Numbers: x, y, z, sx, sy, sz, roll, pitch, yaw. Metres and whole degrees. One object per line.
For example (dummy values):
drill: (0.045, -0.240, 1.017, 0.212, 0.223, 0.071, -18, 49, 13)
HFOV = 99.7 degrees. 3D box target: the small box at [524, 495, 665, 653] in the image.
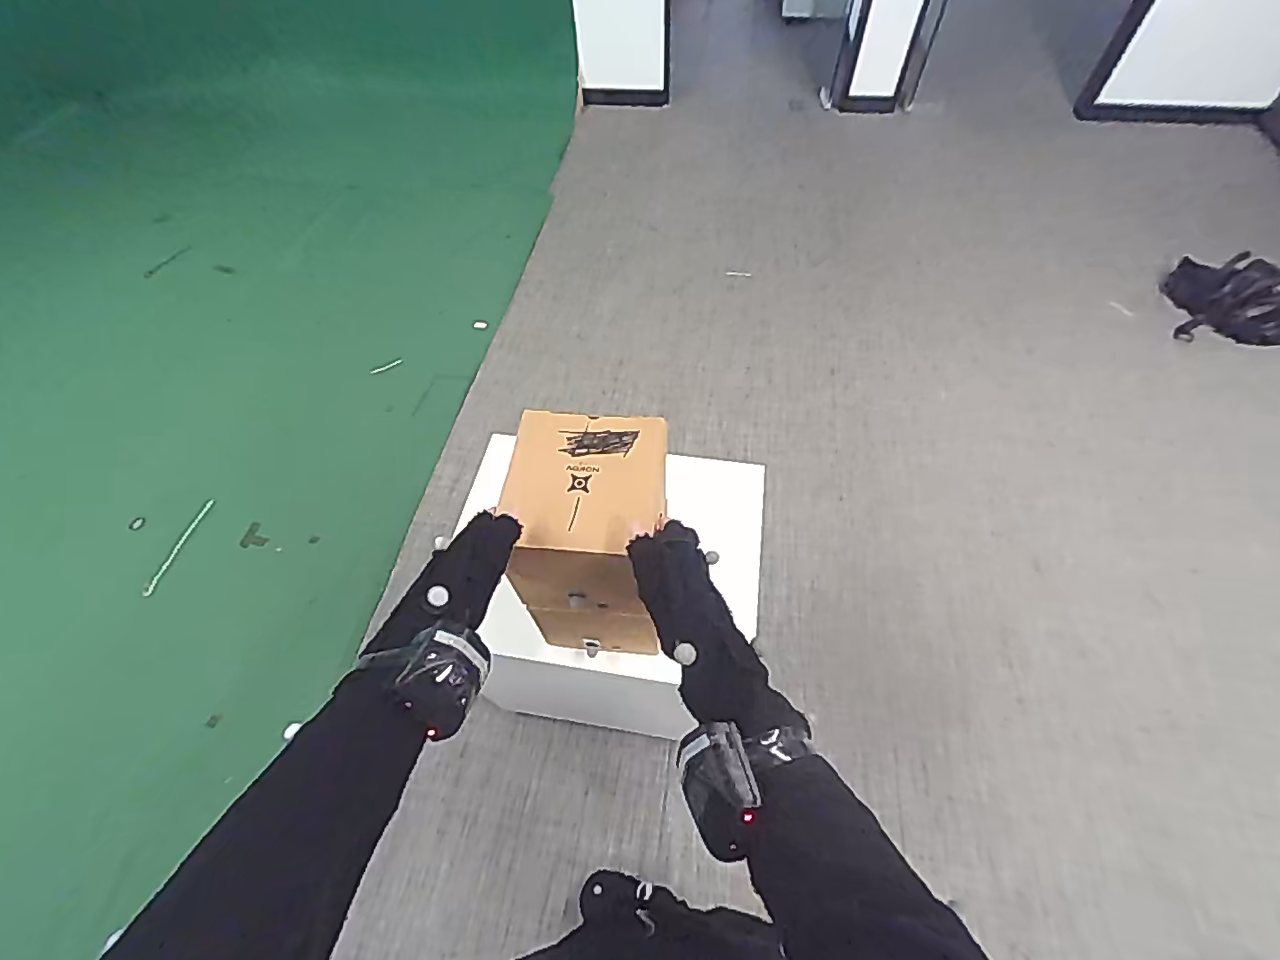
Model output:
small box: (-0.051, 0.132, 0.769, 0.168, 0.176, 0.179, 2, 58, 6)

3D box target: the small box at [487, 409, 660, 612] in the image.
small box: (-0.062, 0.038, 0.634, 0.168, 0.176, 0.179, 1, 56, 4)
